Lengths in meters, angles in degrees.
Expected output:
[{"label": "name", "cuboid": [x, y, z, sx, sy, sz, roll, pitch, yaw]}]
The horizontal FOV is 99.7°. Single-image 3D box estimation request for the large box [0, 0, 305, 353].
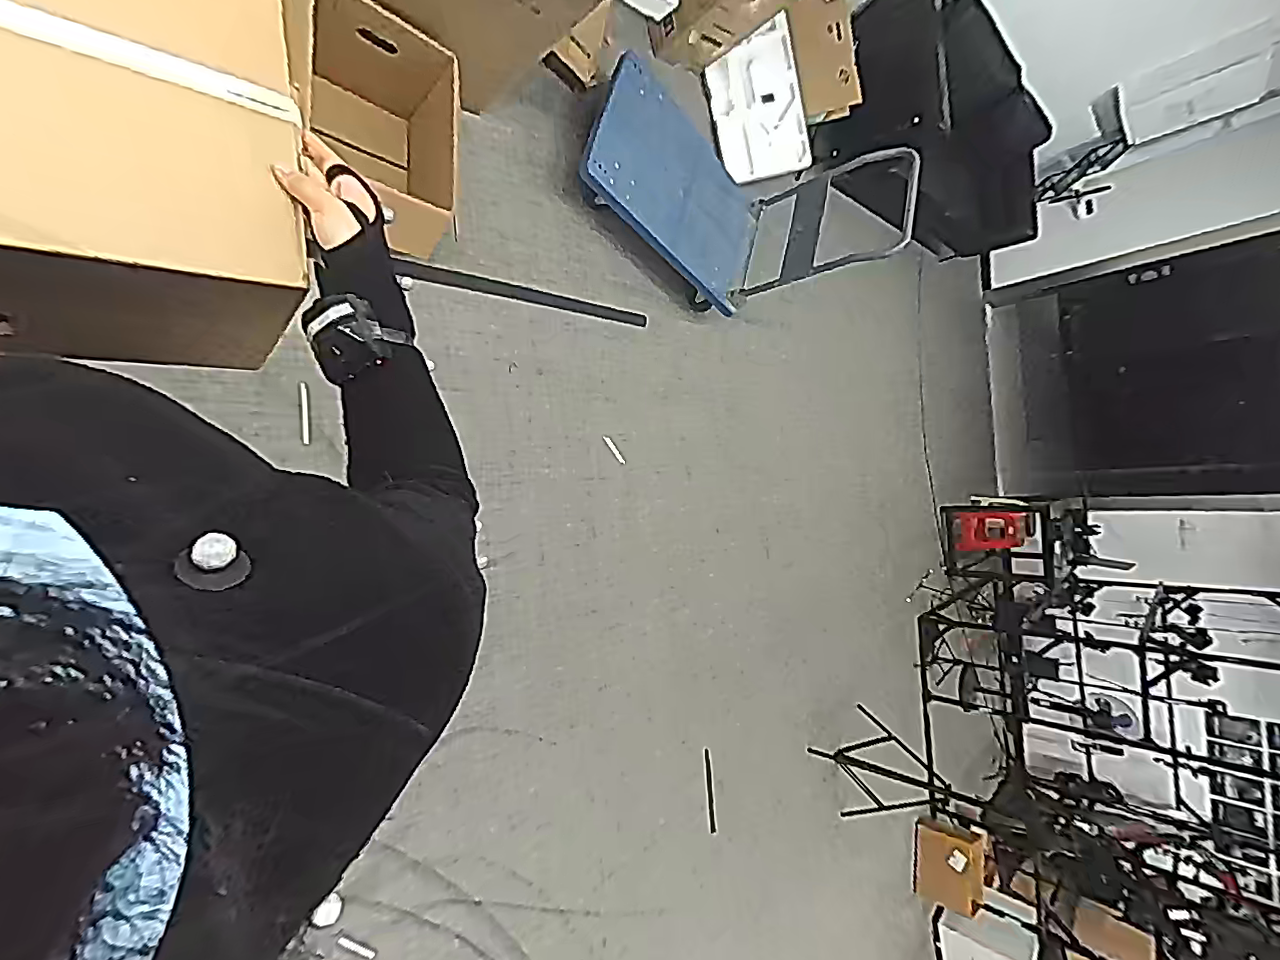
[{"label": "large box", "cuboid": [-0.564, -0.304, 0.466, 0.408, 0.320, 0.320, -7, 89, -42]}]
